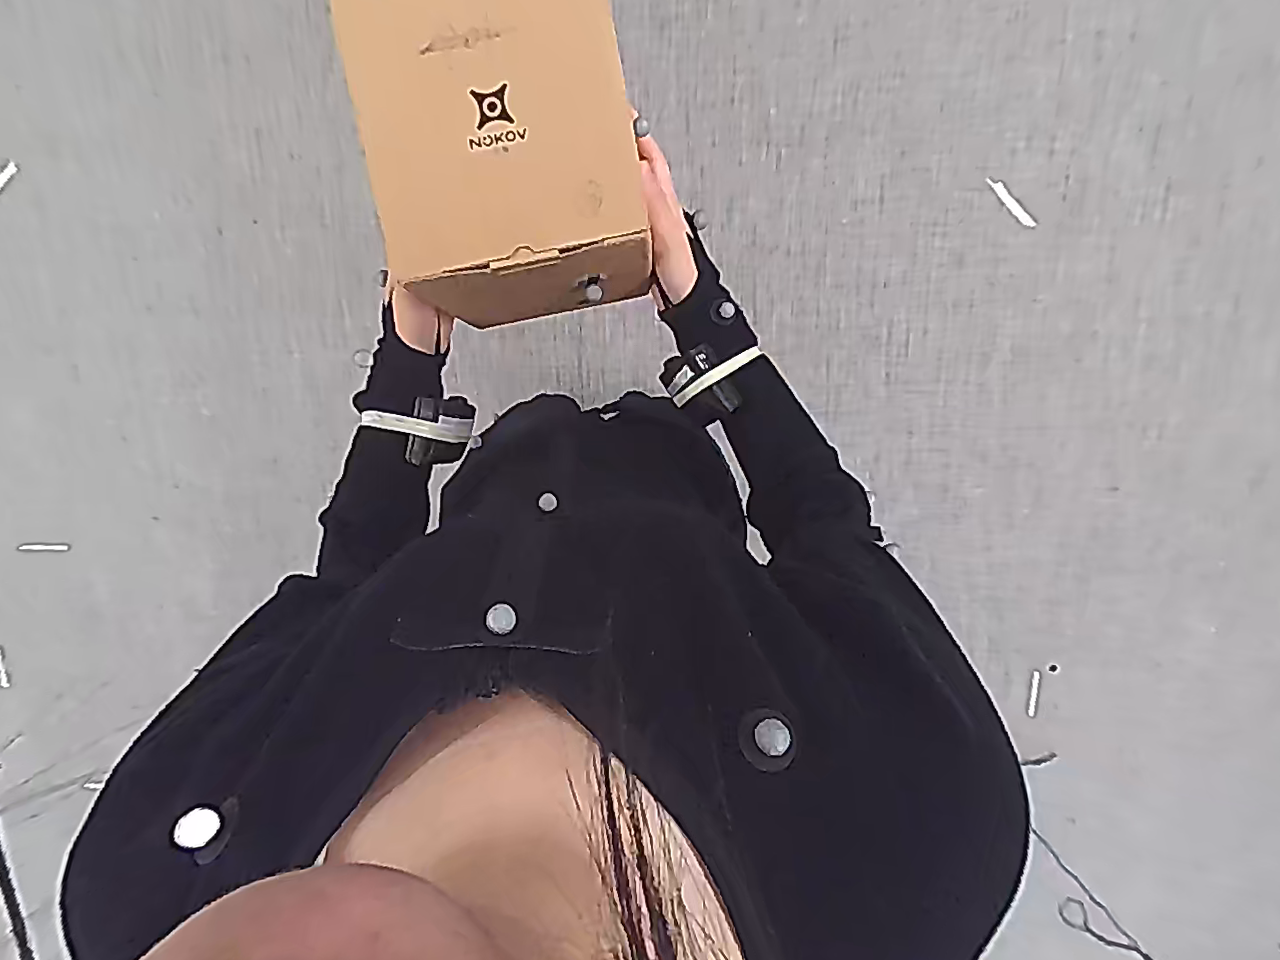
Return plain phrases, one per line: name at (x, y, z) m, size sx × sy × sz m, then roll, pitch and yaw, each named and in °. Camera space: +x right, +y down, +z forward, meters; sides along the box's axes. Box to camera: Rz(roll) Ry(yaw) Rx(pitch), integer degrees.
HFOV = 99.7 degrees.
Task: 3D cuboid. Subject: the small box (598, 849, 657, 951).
small box at (-0.033, 1.259, 1.626) m, size 0.168 × 0.176 × 0.179 m, roll 1°, pitch 101°, yaw 2°
